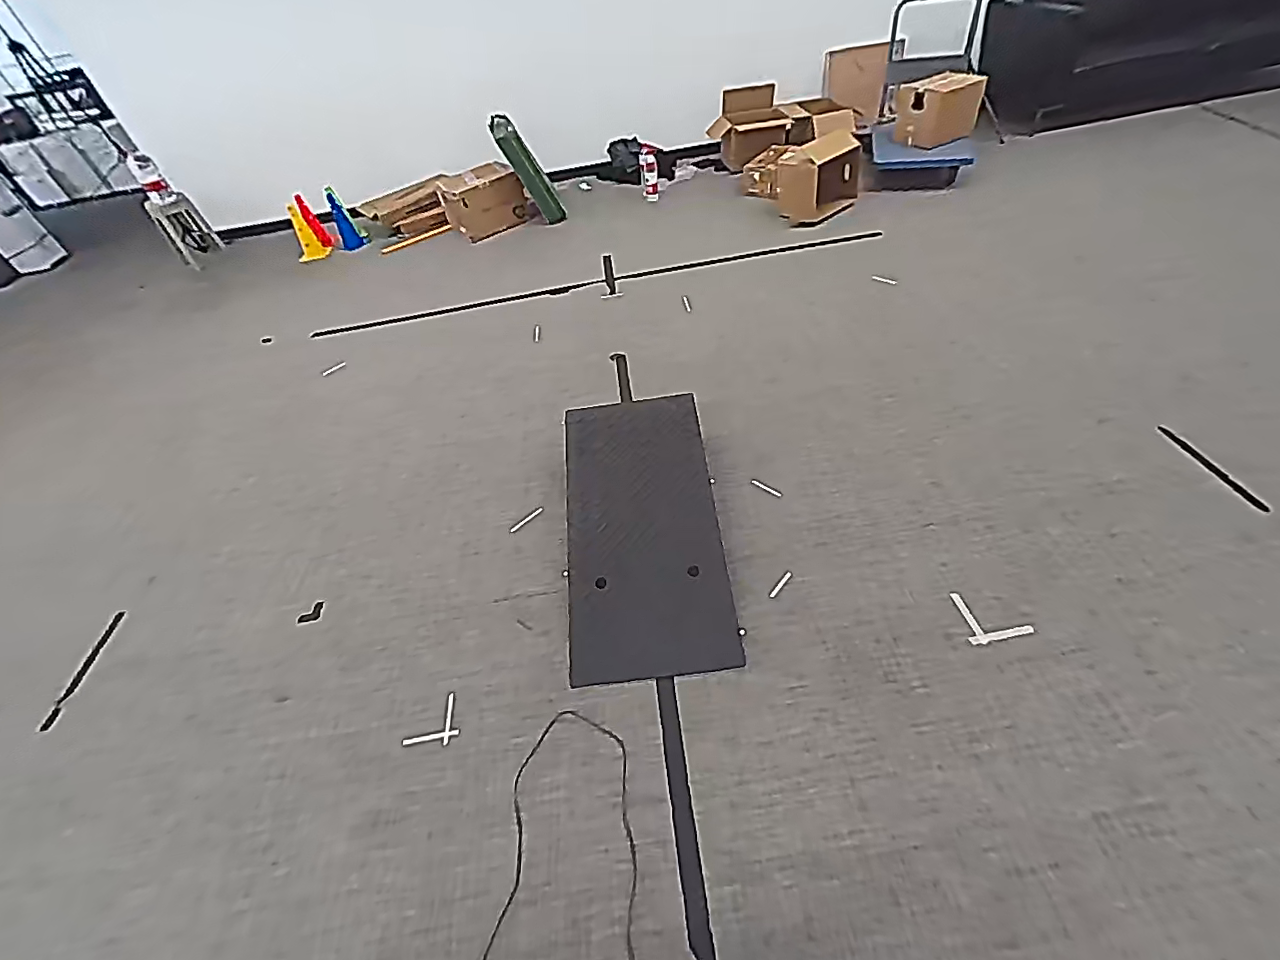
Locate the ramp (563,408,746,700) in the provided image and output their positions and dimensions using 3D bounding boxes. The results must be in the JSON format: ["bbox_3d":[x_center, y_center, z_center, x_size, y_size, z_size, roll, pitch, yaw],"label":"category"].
[{"bbox_3d":[0.005,0.171,1.780,0.509,0.206,0.991,-10,45,0],"label":"ramp"}]
